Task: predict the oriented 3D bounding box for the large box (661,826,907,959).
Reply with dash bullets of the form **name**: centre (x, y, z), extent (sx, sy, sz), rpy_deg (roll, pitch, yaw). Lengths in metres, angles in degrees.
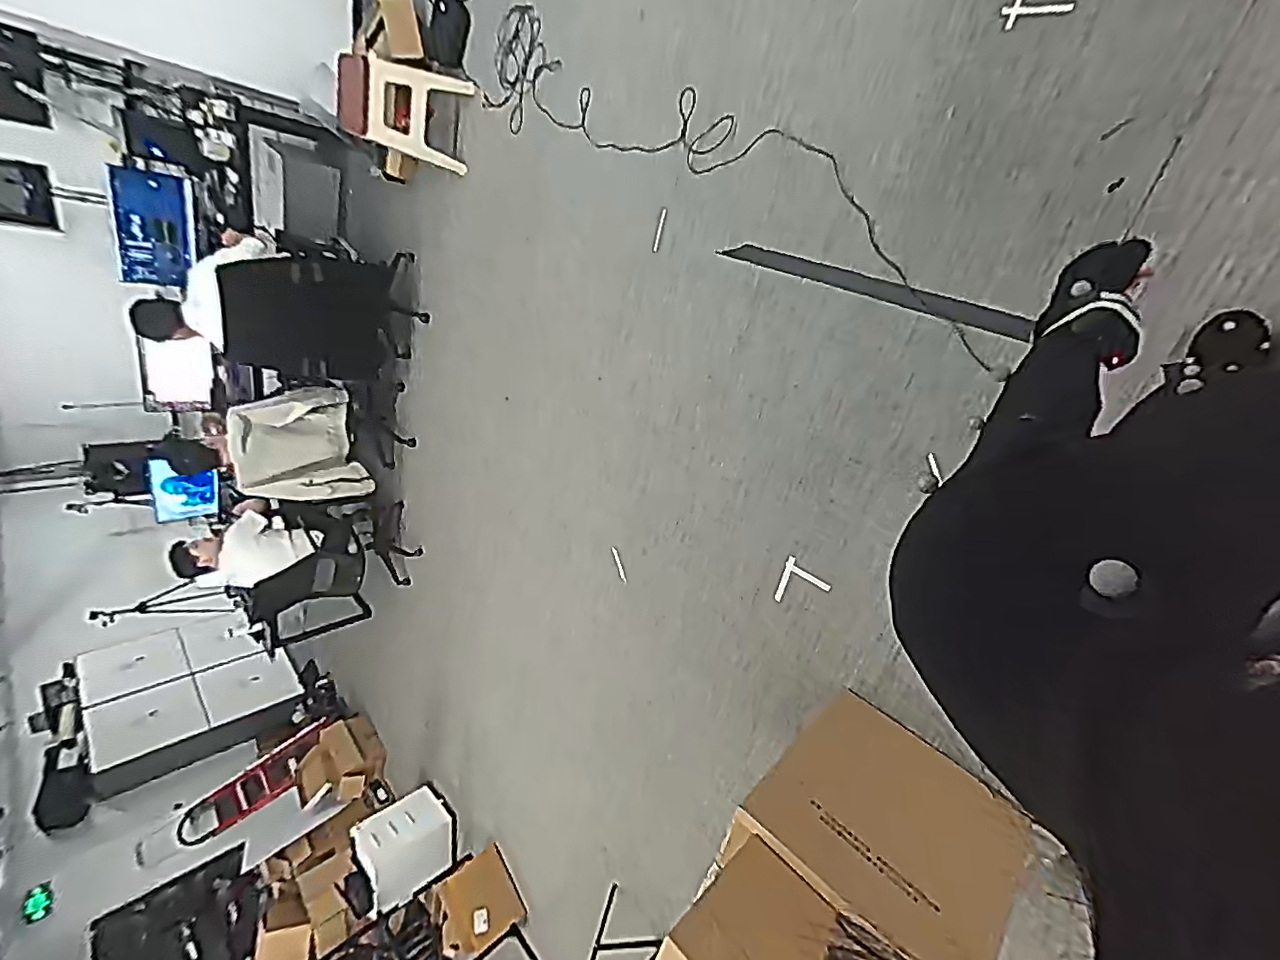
- **large box**: centre (0.282, 1.014, 1.063), extent (0.408, 0.320, 0.320), rpy_deg (30, 118, 37)
